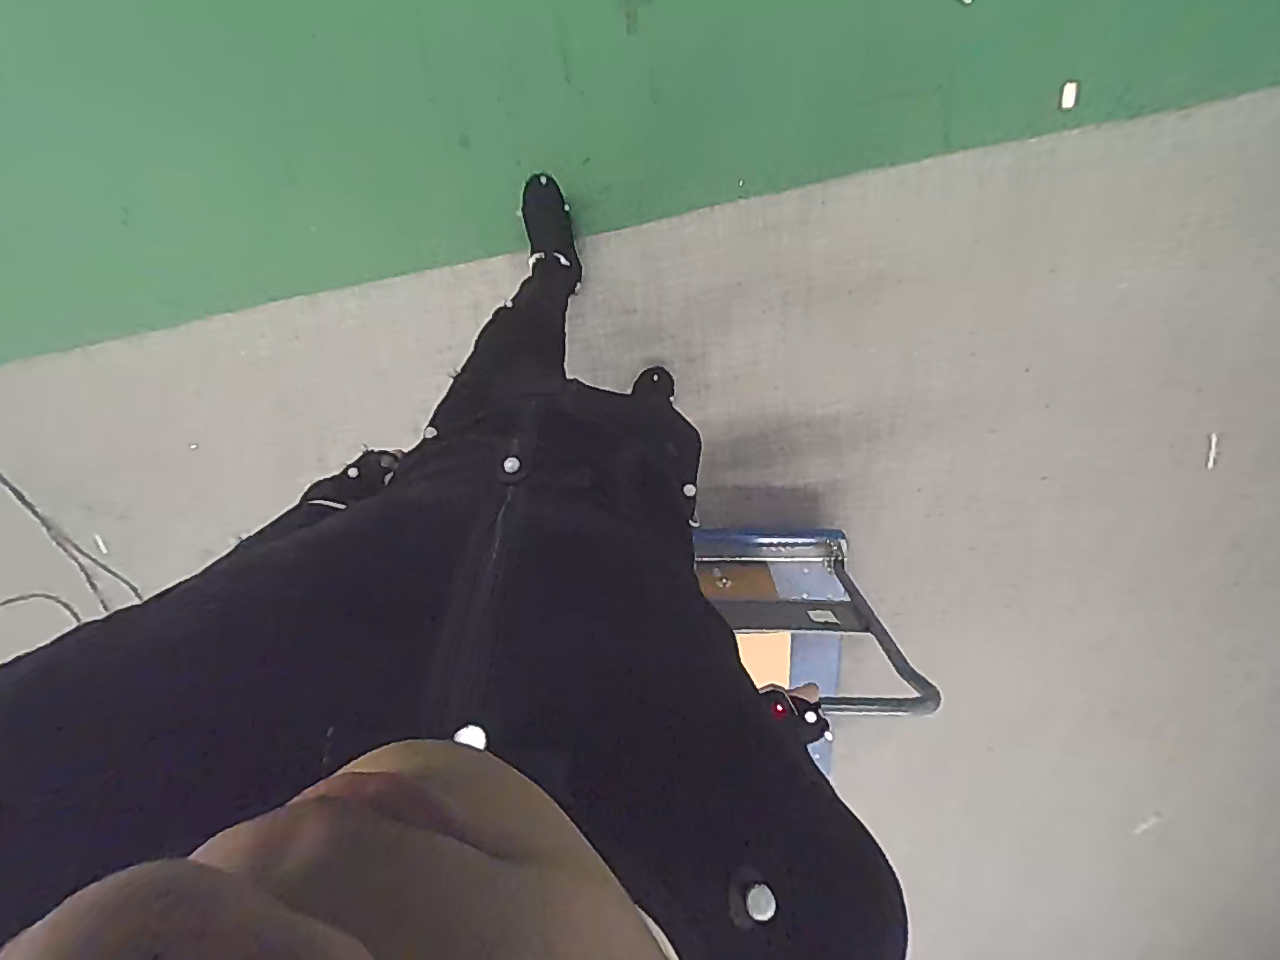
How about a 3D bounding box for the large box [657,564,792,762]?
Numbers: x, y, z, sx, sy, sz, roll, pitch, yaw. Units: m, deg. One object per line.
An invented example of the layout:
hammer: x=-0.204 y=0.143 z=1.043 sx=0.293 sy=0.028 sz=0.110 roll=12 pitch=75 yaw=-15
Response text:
large box: x=0.214 y=0.477 z=1.450 sx=0.320 sy=0.320 sz=0.408 roll=-2 pitch=109 yaw=5
